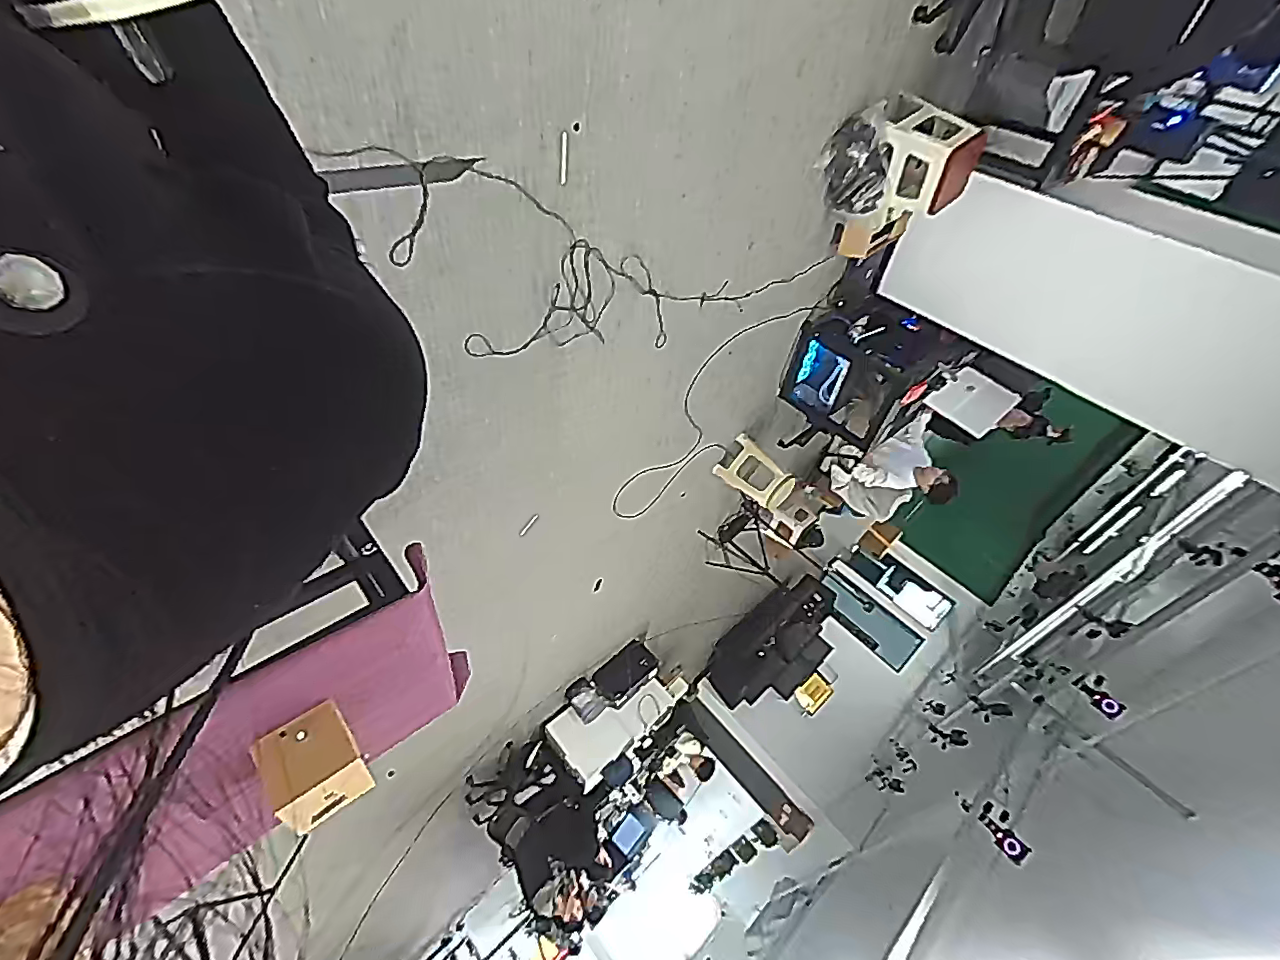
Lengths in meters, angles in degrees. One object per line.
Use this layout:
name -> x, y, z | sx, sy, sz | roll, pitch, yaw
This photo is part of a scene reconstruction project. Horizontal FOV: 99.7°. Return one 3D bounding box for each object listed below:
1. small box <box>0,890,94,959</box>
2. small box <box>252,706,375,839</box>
small box -> -1.092, 0.863, 0.937 | 0.168, 0.176, 0.179 | -26, 145, -38
small box -> -0.715, 0.638, 1.193 | 0.168, 0.176, 0.179 | -28, 145, -34
